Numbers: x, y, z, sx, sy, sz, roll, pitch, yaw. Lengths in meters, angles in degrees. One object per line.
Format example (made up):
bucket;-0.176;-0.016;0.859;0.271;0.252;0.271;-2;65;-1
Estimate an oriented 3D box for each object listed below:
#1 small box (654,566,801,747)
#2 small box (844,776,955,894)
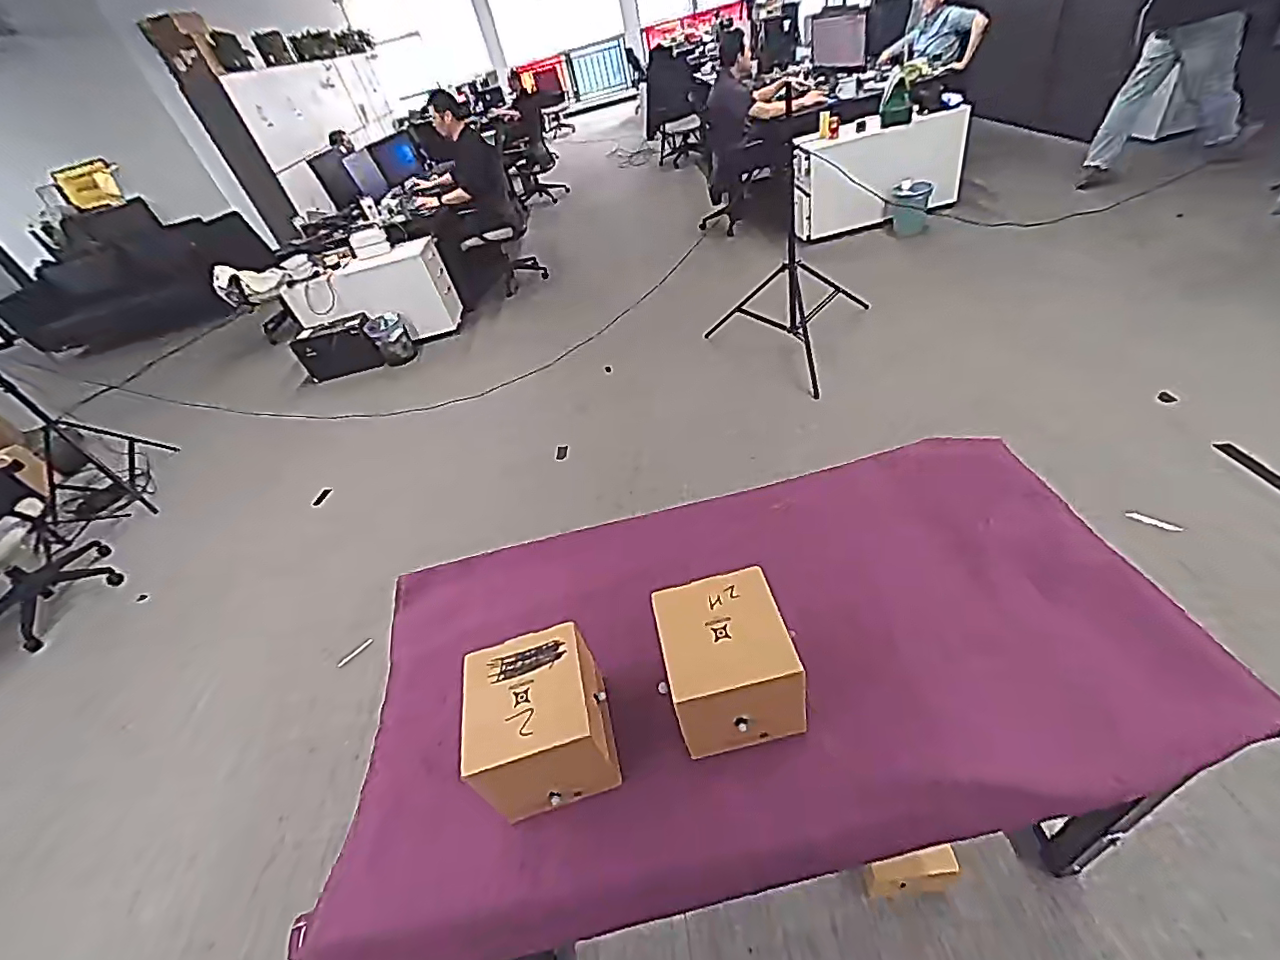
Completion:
small box;0.125;0.258;0.775;0.168;0.176;0.179;-14;39;1
small box;0.554;0.778;1.179;0.168;0.176;0.179;-11;40;6
